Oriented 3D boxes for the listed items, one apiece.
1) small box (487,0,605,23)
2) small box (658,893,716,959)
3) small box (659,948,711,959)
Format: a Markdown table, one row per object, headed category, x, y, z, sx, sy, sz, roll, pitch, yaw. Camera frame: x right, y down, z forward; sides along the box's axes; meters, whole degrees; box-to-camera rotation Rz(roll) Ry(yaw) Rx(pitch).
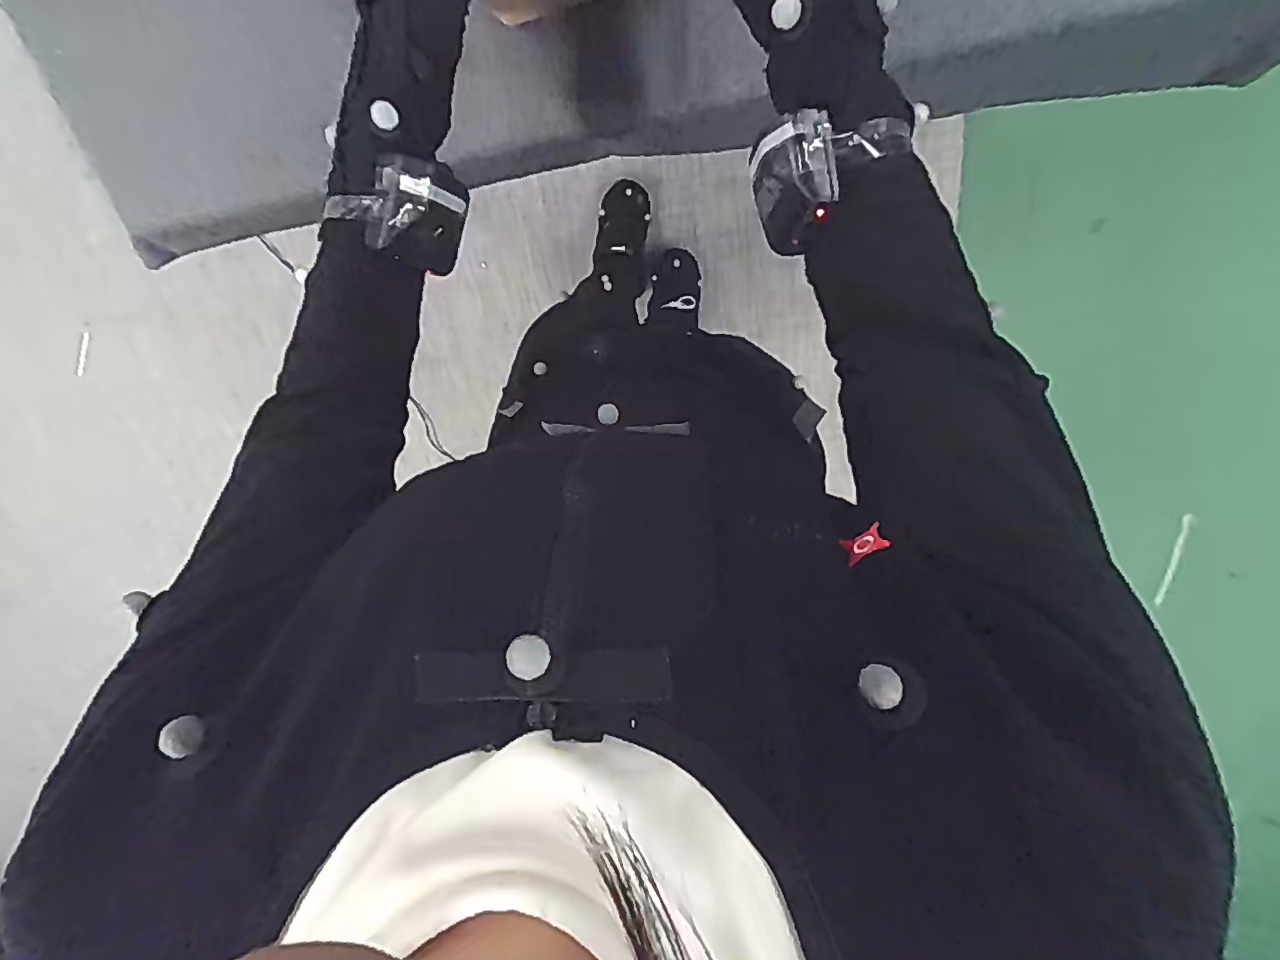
| category | x | y | z | sx | sy | sz | roll | pitch | yaw |
| --- | --- | --- | --- | --- | --- | --- | --- | --- | --- |
| small box | -0.056 | -0.460 | 0.376 | 0.179 | 0.176 | 0.168 | -9 | 118 | 11 |
| small box | 0.167 | 1.589 | 1.901 | 0.179 | 0.176 | 0.168 | -11 | 114 | 11 |
| small box | 0.155 | 1.658 | 1.753 | 0.168 | 0.176 | 0.179 | -12 | 114 | 10 |
